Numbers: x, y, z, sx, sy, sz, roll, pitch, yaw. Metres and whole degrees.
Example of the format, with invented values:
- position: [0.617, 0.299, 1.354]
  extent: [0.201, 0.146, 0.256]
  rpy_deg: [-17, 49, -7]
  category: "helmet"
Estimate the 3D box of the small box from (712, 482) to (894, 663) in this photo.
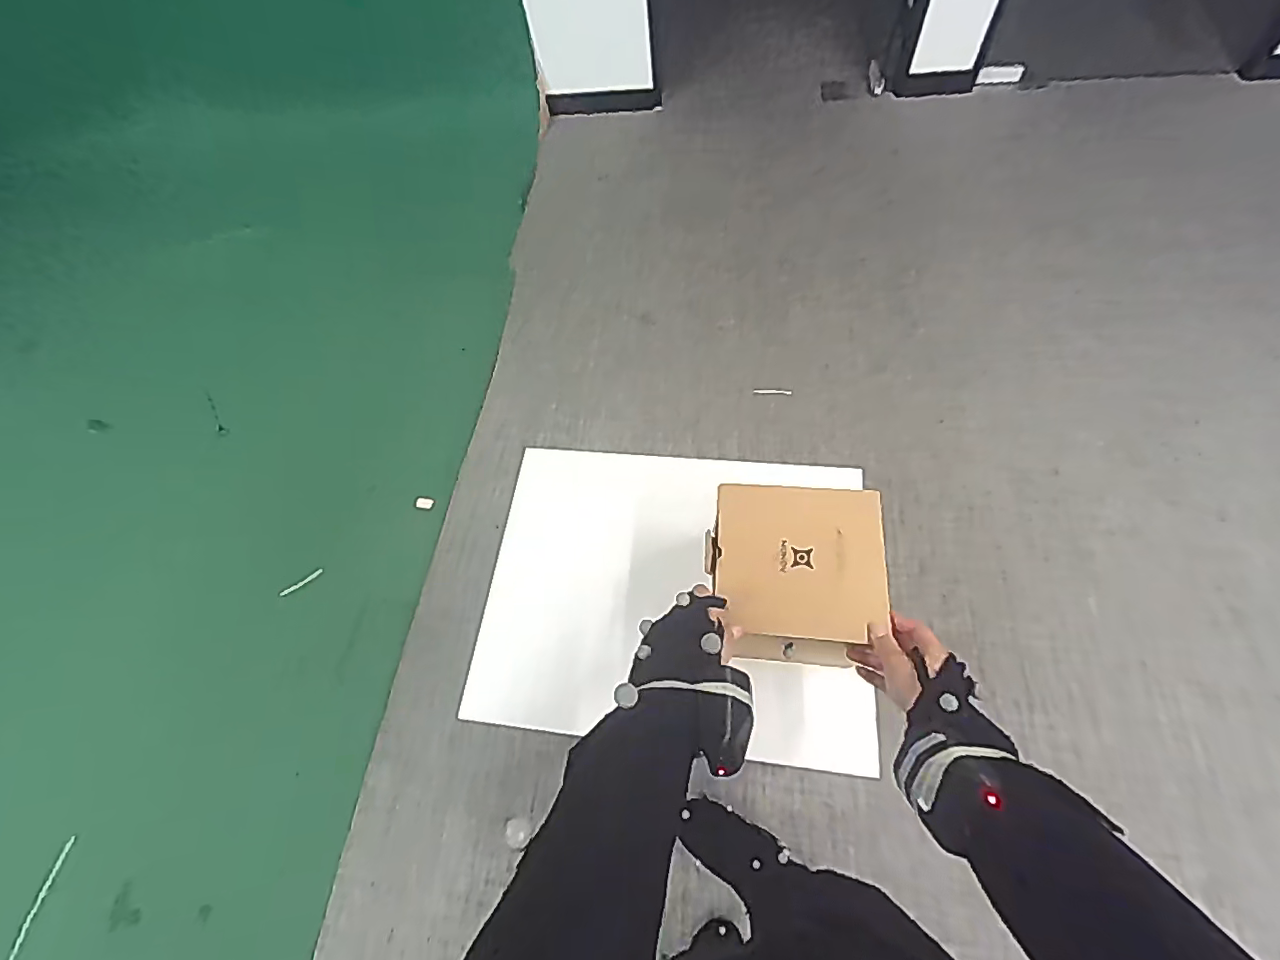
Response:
- position: [0.176, 0.114, 0.634]
  extent: [0.179, 0.176, 0.168]
  rpy_deg: [3, 65, 8]
  category: "small box"
